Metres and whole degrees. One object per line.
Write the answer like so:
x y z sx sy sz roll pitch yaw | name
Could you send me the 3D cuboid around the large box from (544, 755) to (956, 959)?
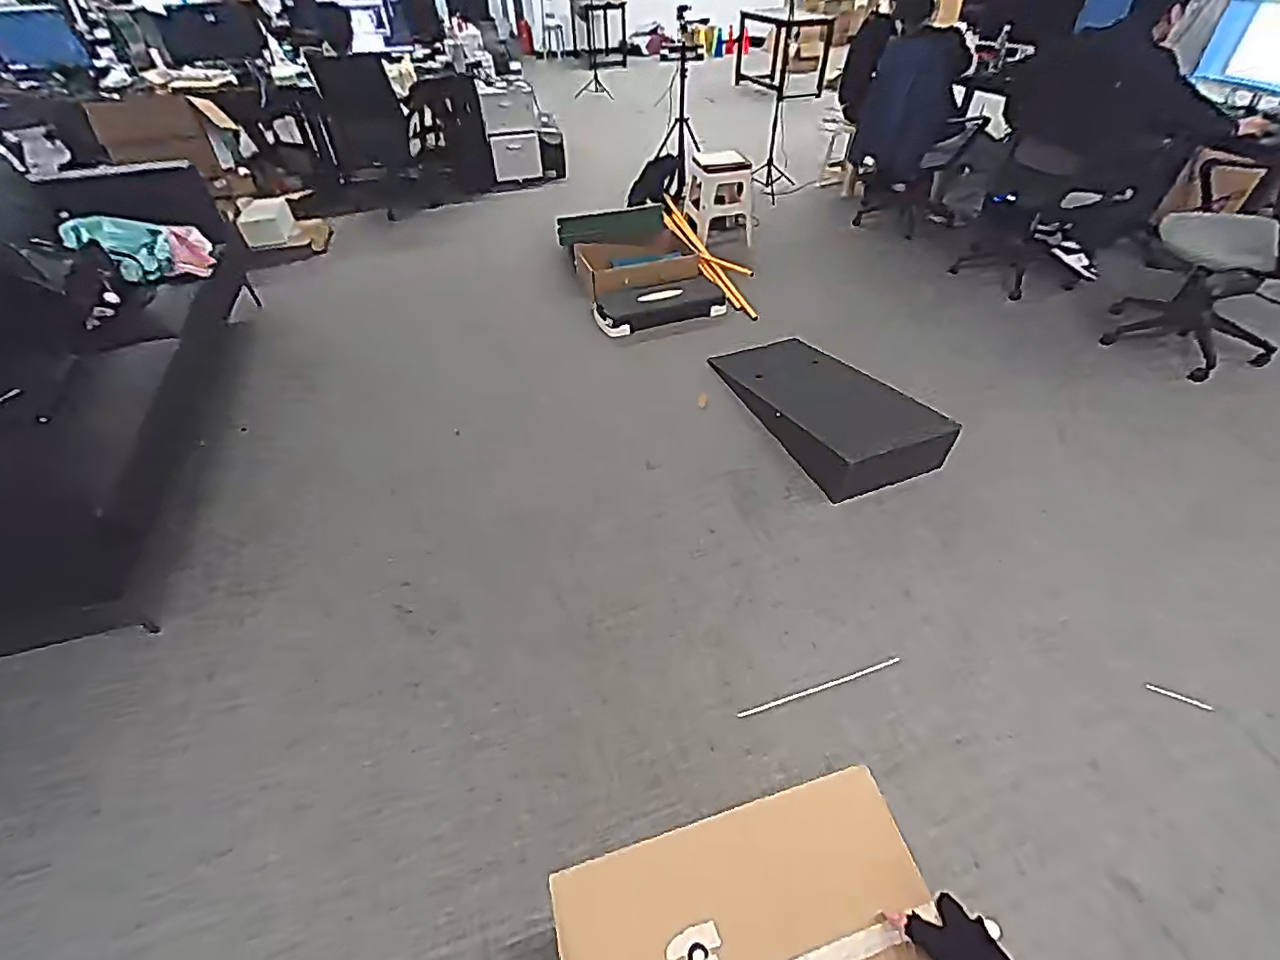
0.123 0.586 0.674 0.408 0.320 0.320 -13 57 -10 | large box
